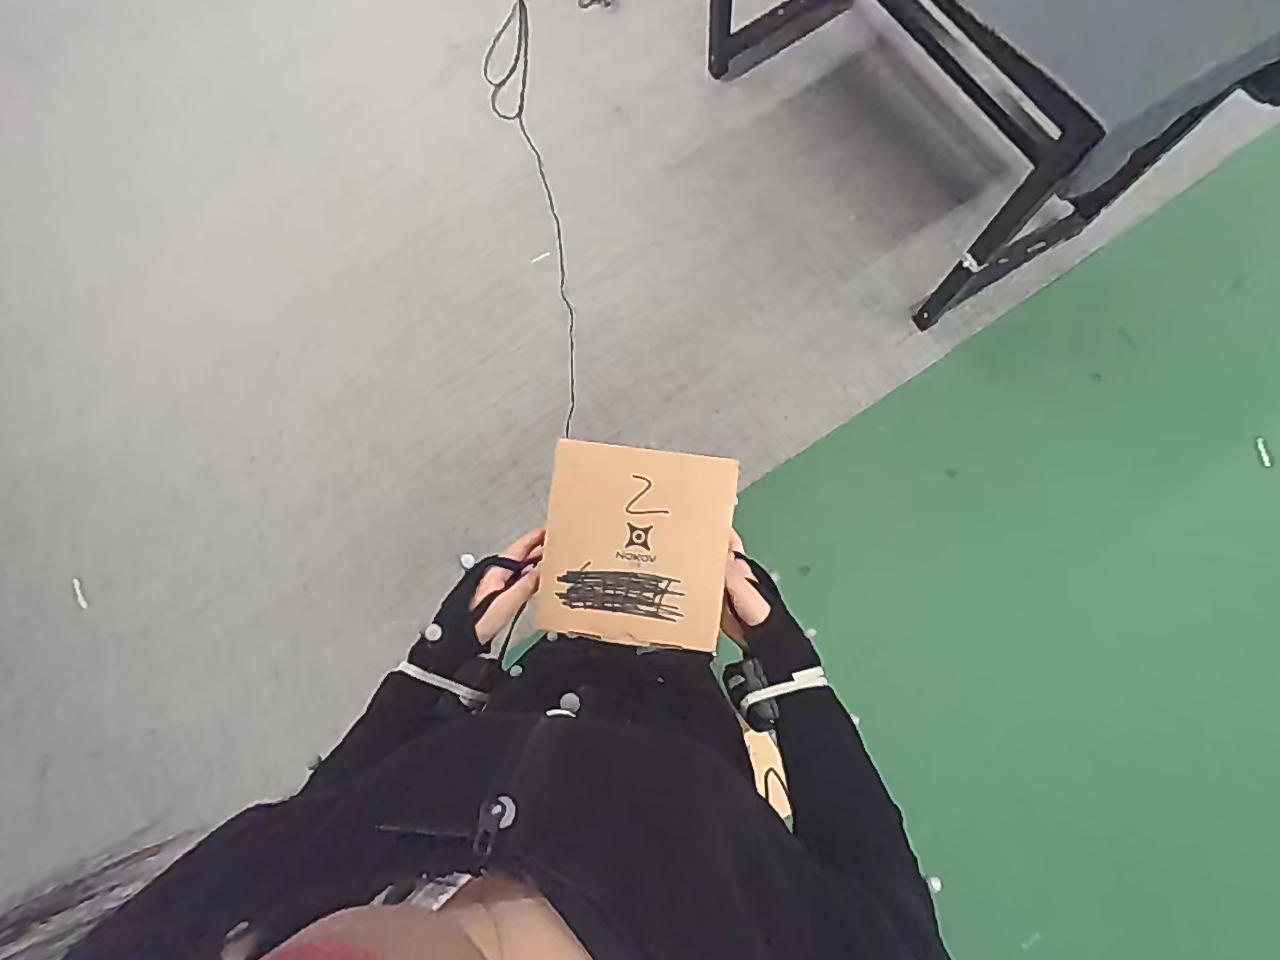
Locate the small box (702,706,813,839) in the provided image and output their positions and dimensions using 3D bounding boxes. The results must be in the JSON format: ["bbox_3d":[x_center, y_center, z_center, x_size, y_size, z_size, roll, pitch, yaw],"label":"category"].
[{"bbox_3d":[0.248,0.625,1.181,0.168,0.176,0.179,-30,77,-1],"label":"small box"}]

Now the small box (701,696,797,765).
[{"bbox_3d":[0.261,0.659,1.343,0.168,0.176,0.179,-33,78,-1],"label":"small box"}]
